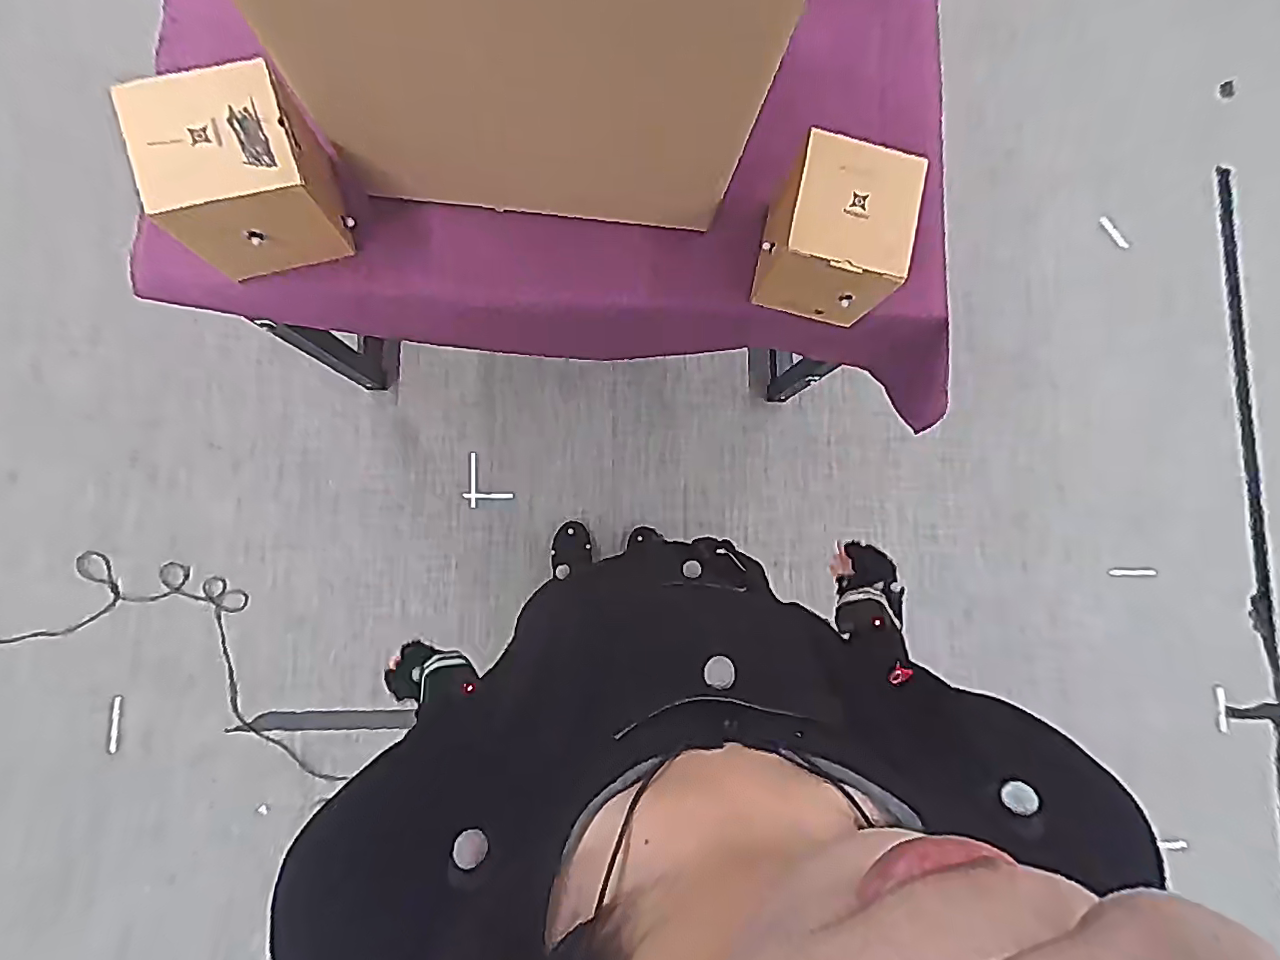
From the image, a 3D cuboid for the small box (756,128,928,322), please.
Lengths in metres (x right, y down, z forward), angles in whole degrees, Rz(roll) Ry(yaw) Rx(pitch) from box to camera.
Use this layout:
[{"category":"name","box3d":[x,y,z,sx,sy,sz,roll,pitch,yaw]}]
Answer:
[{"category":"small box","box3d":[0.278,-0.352,0.782,0.168,0.176,0.179,13,83,-5]}]
